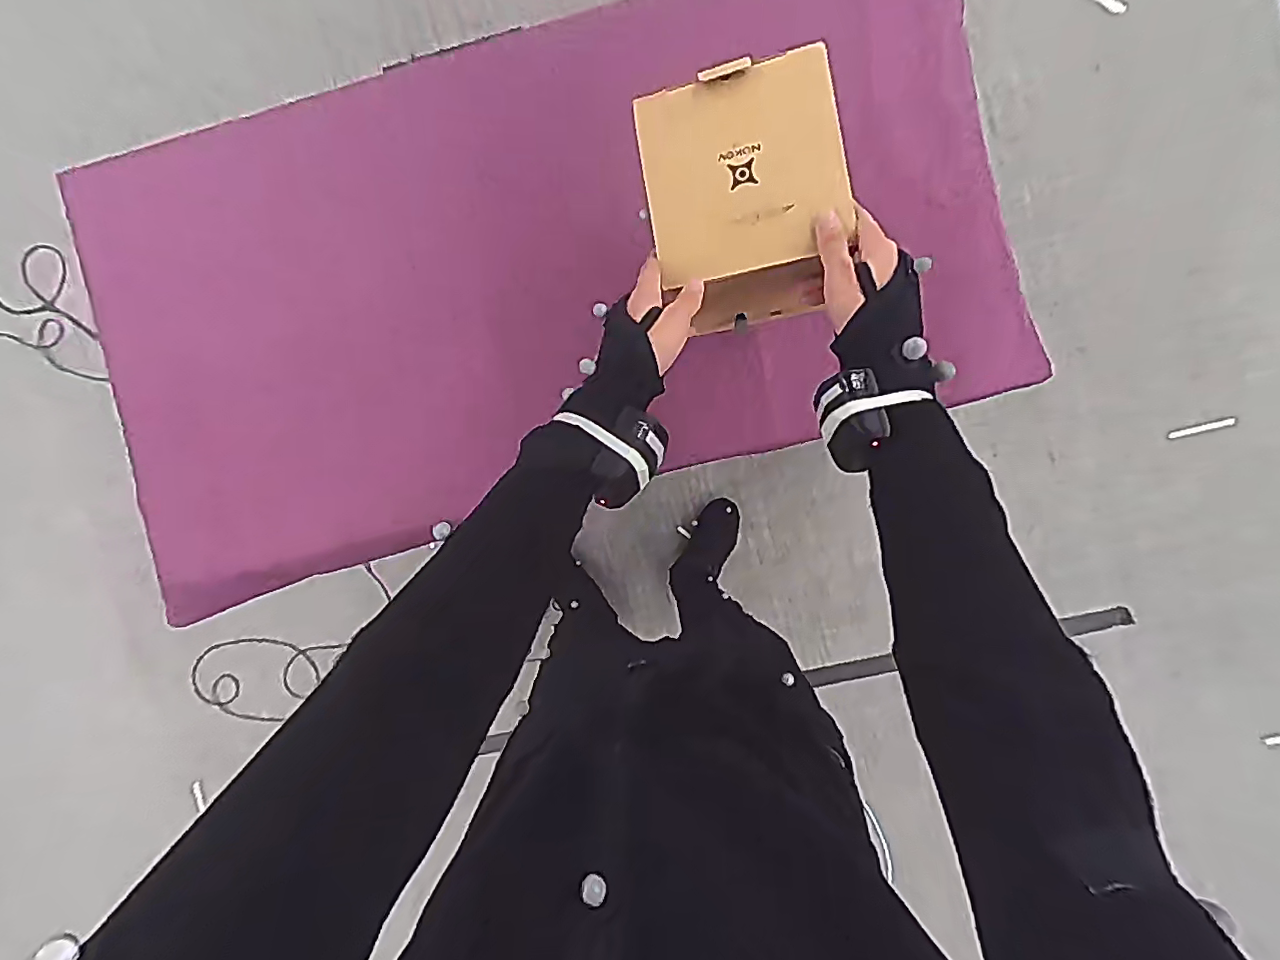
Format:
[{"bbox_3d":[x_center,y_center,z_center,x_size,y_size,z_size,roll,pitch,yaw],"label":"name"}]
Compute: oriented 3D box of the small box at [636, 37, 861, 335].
[{"bbox_3d":[0.101,-0.259,0.523,0.168,0.176,0.179,-9,89,12],"label":"small box"}]
